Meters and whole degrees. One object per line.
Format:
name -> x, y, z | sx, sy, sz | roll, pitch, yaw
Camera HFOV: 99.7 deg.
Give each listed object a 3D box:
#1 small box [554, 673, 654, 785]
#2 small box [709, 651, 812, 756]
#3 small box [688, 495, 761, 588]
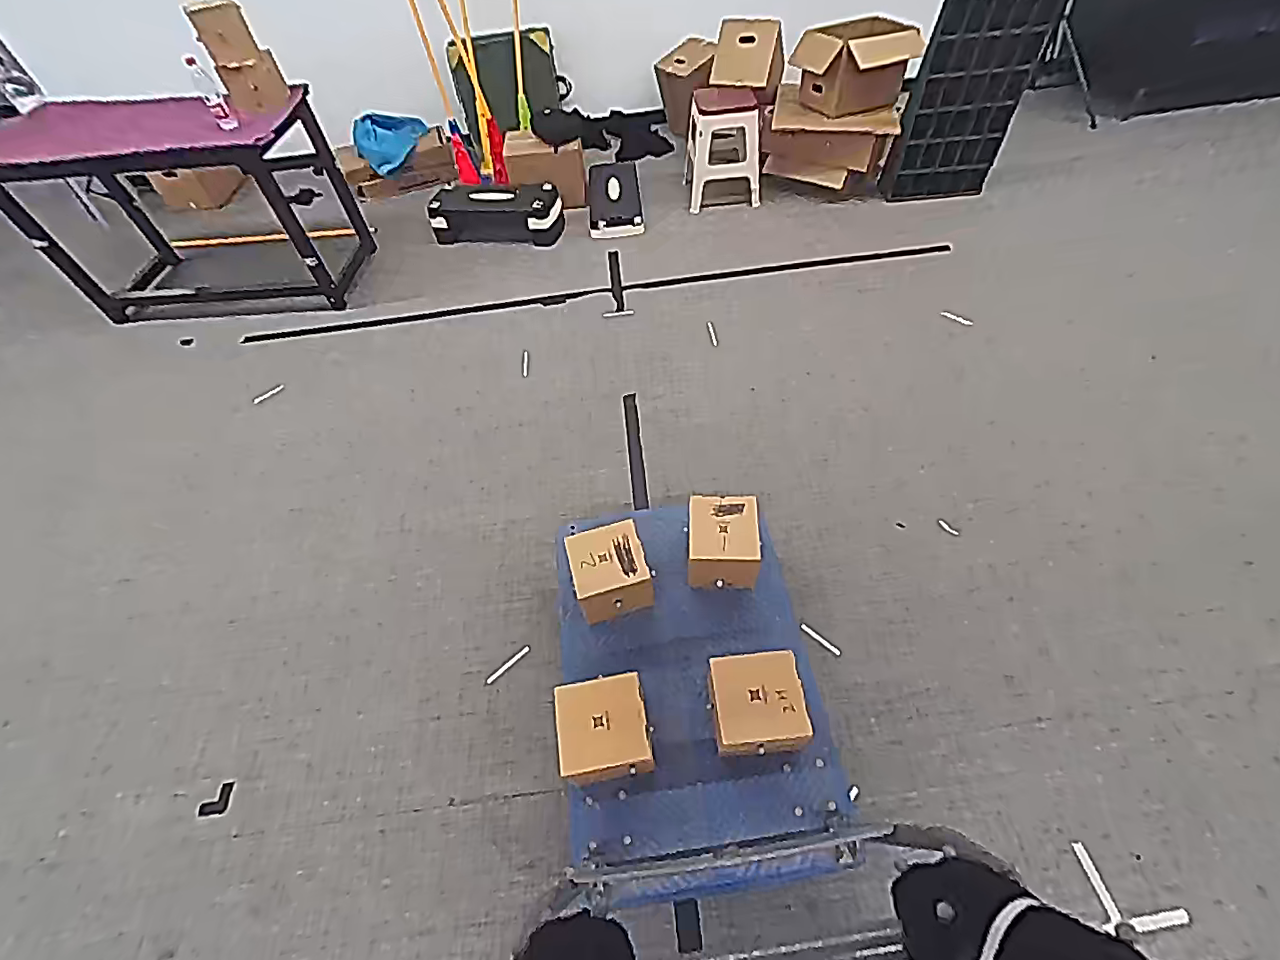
small box -> -0.072, 0.519, 1.121 | 0.179, 0.176, 0.168 | -10, 55, -4
small box -> 0.241, 0.471, 1.129 | 0.179, 0.176, 0.168 | -6, 56, 0
small box -> 0.204, 0.154, 1.347 | 0.168, 0.176, 0.179 | 0, 57, 5
